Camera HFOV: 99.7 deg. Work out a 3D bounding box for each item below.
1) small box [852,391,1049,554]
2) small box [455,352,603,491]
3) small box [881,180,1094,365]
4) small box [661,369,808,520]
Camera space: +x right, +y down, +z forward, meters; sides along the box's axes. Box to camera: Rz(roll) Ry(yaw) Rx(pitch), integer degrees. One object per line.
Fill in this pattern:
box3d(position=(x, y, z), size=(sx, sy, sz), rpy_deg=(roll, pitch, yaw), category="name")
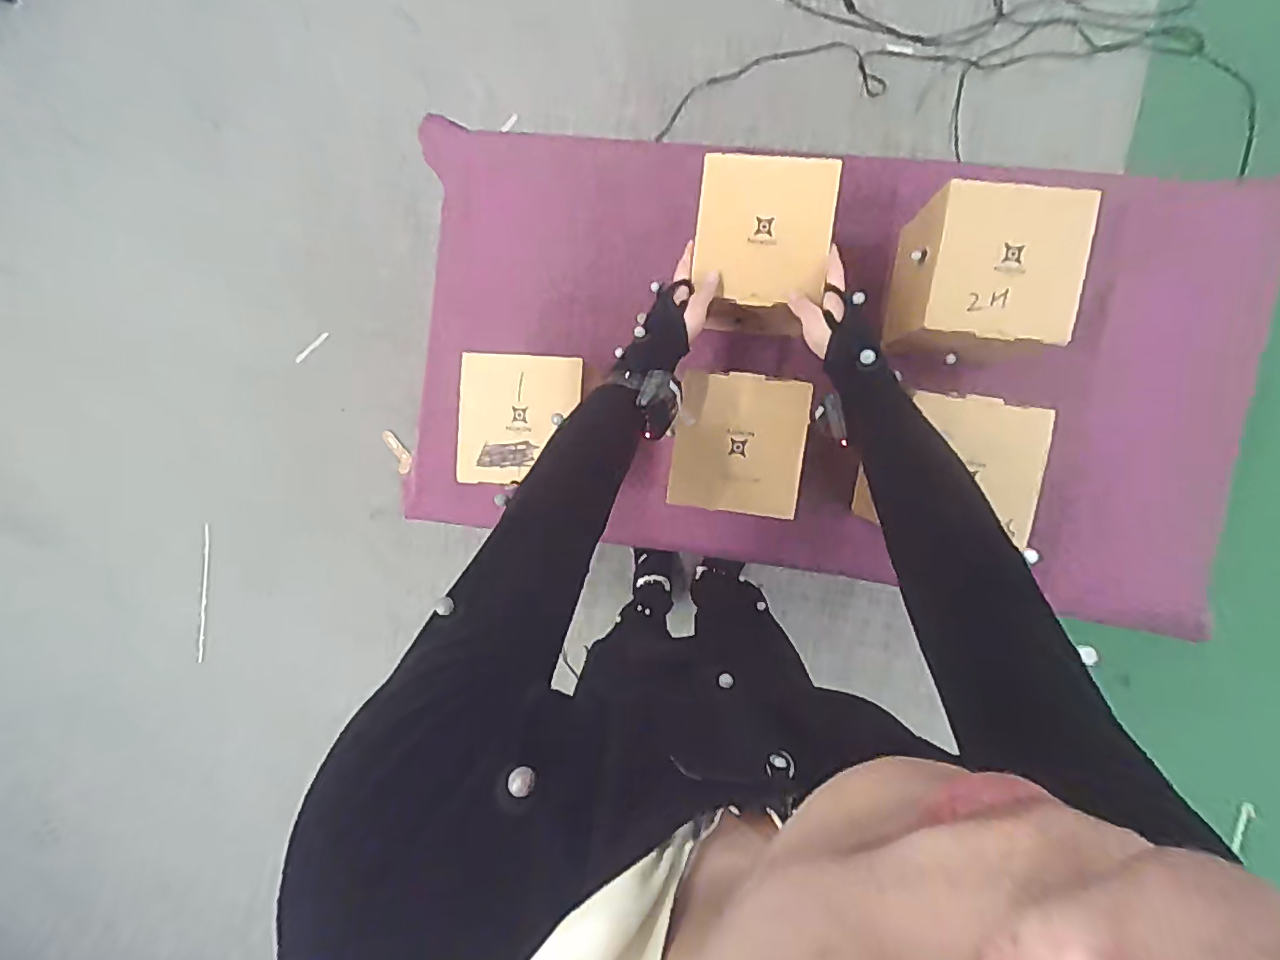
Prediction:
box3d(position=(0.401, -0.014, 0.731), size=(0.168, 0.176, 0.179), rpy_deg=(10, 94, 7), category="small box")
box3d(position=(-0.155, -0.082, 0.799), size=(0.168, 0.176, 0.179), rpy_deg=(5, 93, 7), category="small box")
box3d(position=(0.434, -0.258, 0.709), size=(0.168, 0.176, 0.179), rpy_deg=(9, 96, 7), category="small box")
box3d(position=(0.129, -0.051, 0.767), size=(0.168, 0.176, 0.179), rpy_deg=(8, 96, 8), category="small box")
